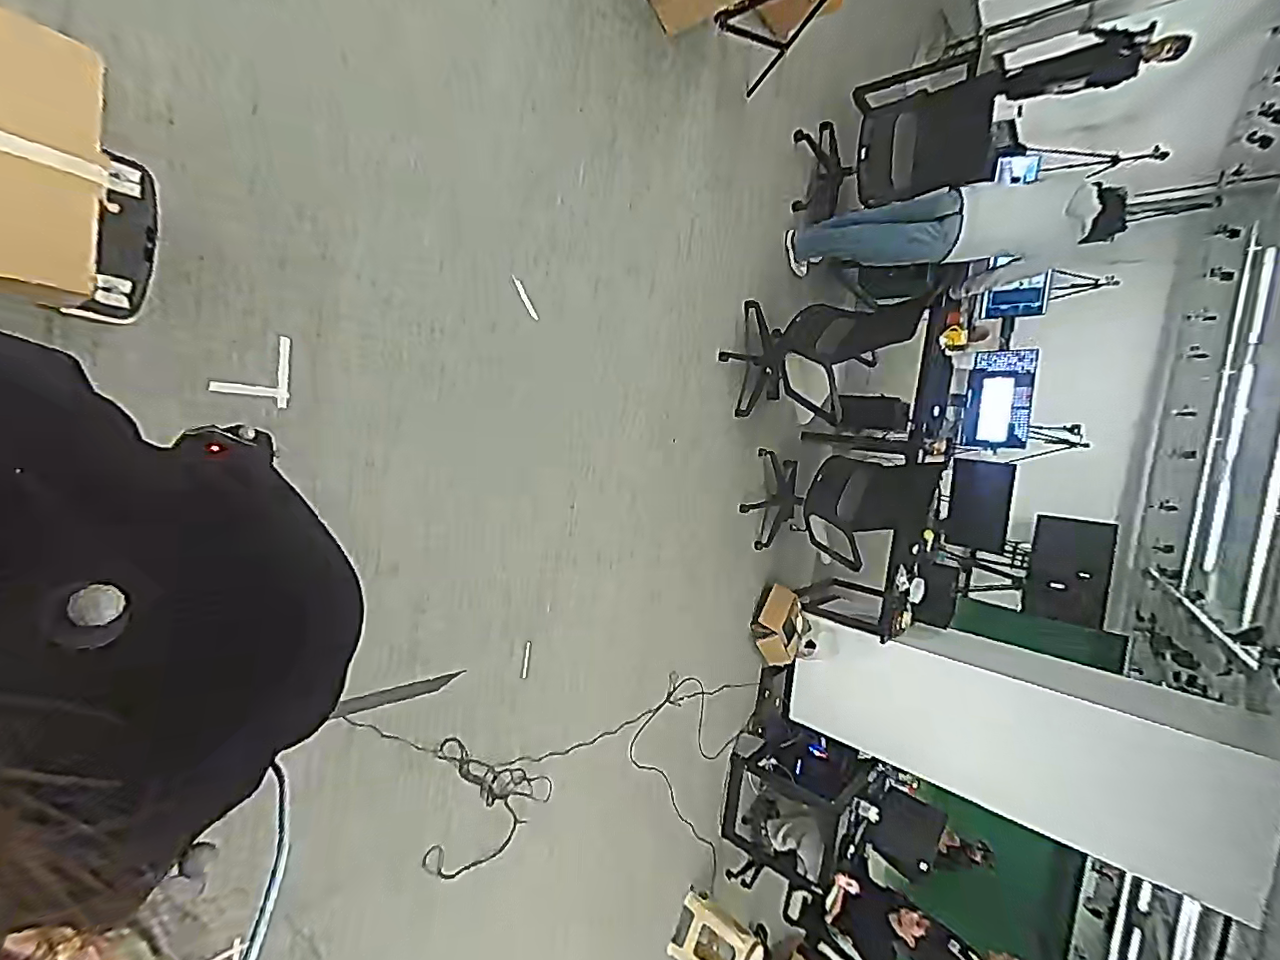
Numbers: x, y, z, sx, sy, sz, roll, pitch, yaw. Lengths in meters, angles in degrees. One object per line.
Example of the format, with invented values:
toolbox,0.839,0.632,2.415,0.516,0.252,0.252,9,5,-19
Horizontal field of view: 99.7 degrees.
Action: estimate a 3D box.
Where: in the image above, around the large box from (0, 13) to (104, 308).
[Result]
large box,-0.948,-0.416,0.657,0.408,0.320,0.320,2,95,-50
